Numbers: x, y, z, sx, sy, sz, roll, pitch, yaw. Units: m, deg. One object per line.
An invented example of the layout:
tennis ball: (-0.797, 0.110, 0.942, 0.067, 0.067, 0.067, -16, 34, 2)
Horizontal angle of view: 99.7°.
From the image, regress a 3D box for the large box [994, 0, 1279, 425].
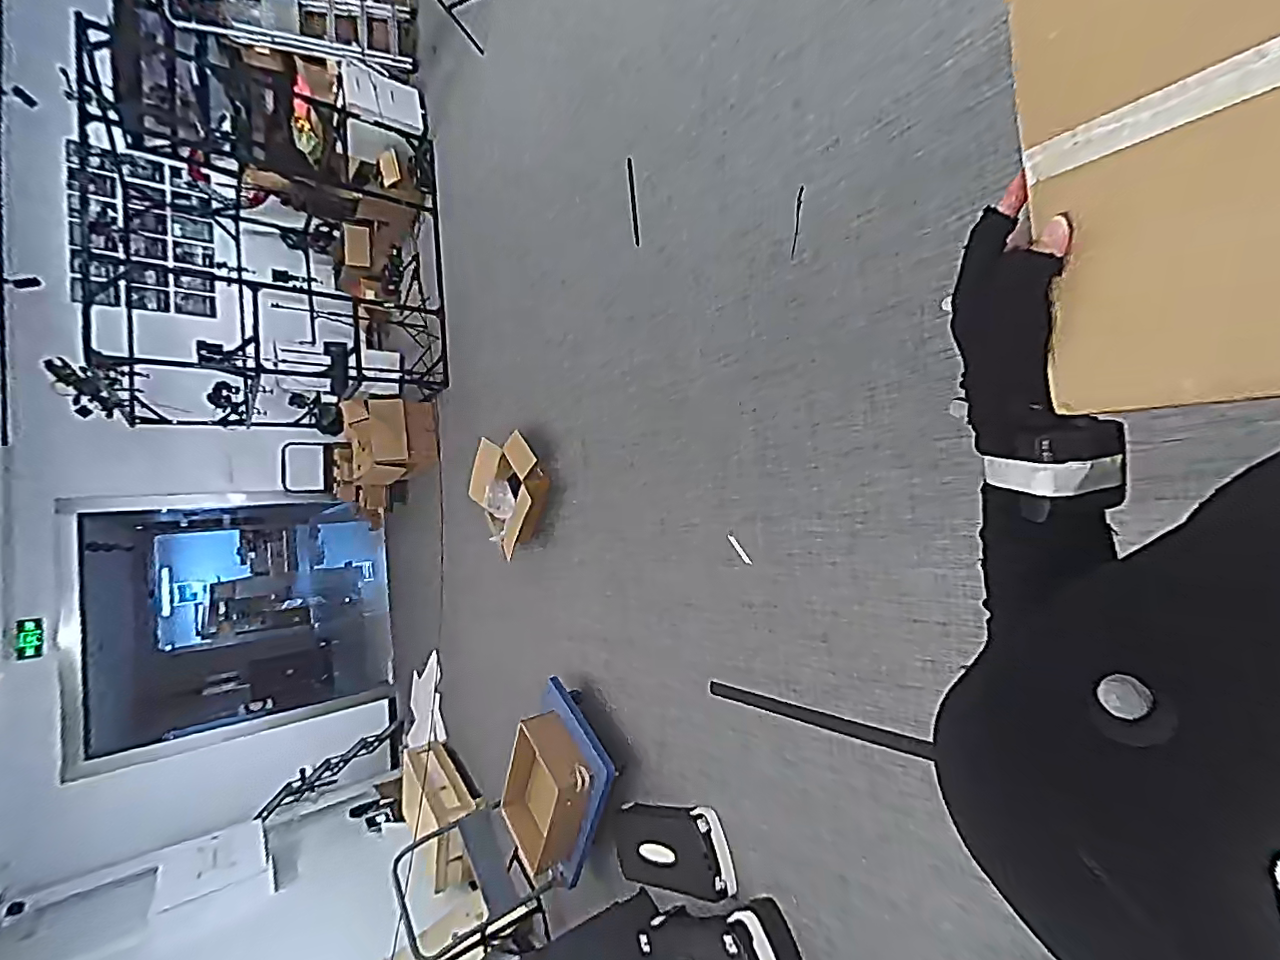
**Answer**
large box: (0.478, -0.226, 0.266, 0.408, 0.320, 0.320, -2, 100, 56)
